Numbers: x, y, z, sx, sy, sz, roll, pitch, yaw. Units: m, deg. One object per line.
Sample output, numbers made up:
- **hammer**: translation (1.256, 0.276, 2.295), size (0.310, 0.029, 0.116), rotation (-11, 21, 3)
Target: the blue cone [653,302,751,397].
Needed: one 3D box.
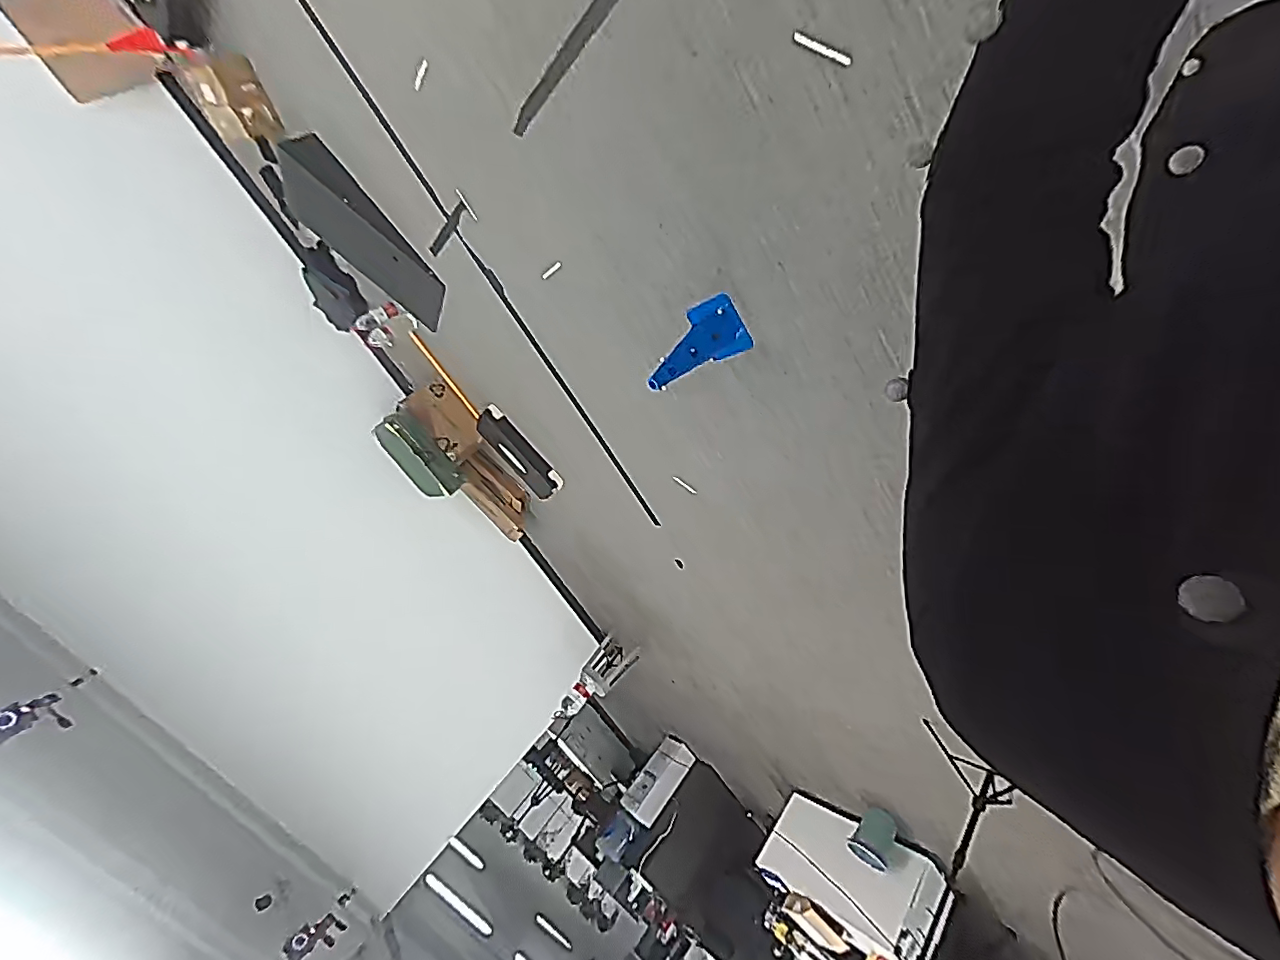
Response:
- **blue cone**: translation (0.162, -0.385, 1.703), size (0.193, 0.380, 0.192), rotation (-5, 124, 55)
